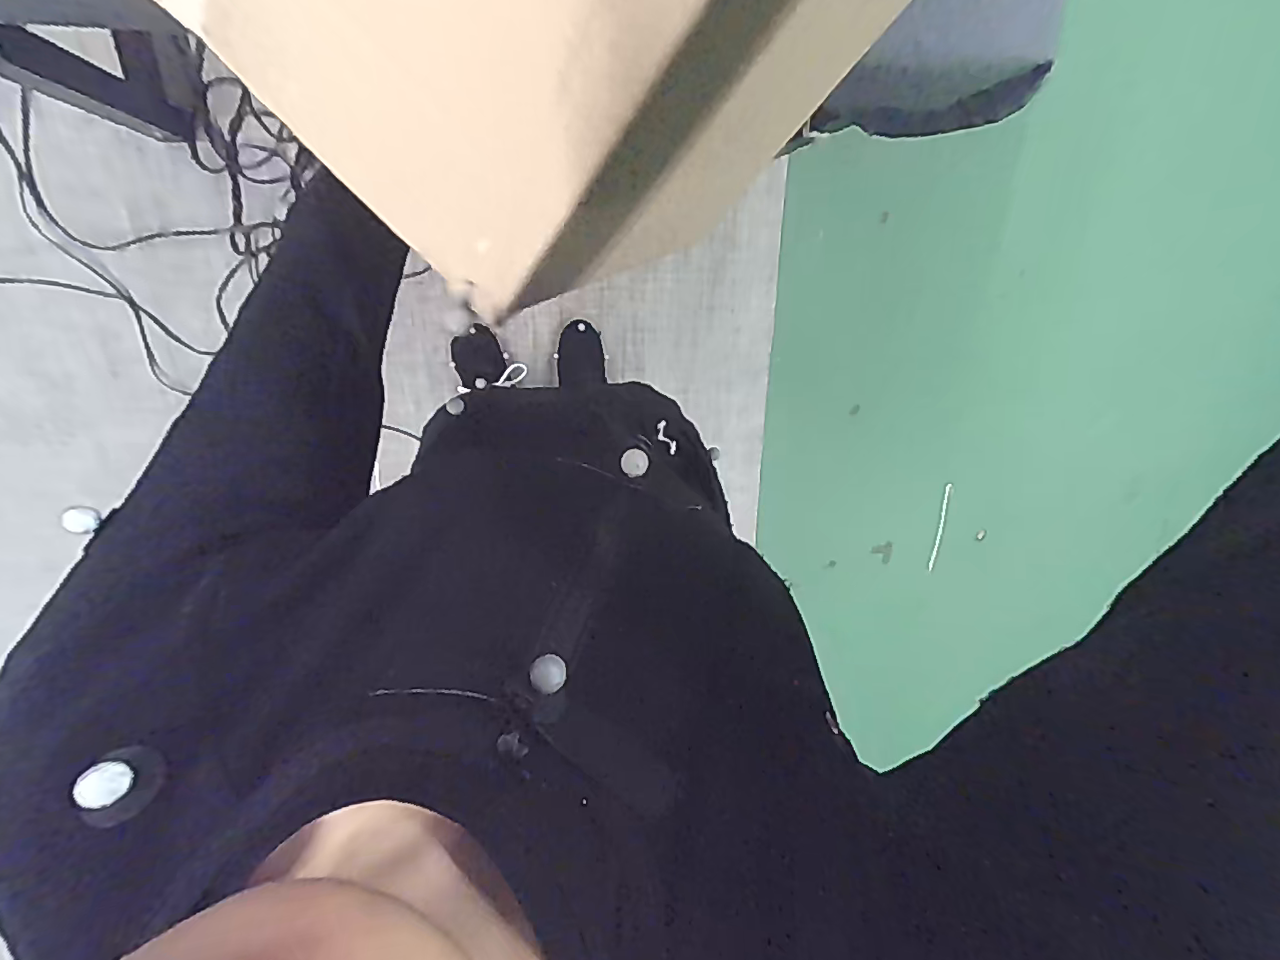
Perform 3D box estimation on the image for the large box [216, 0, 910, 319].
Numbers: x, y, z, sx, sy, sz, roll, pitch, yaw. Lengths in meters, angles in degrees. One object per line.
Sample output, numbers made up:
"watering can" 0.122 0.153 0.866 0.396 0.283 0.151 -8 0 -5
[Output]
"large box" 0.021 -0.356 0.237 0.320 0.320 0.408 44 126 -4
